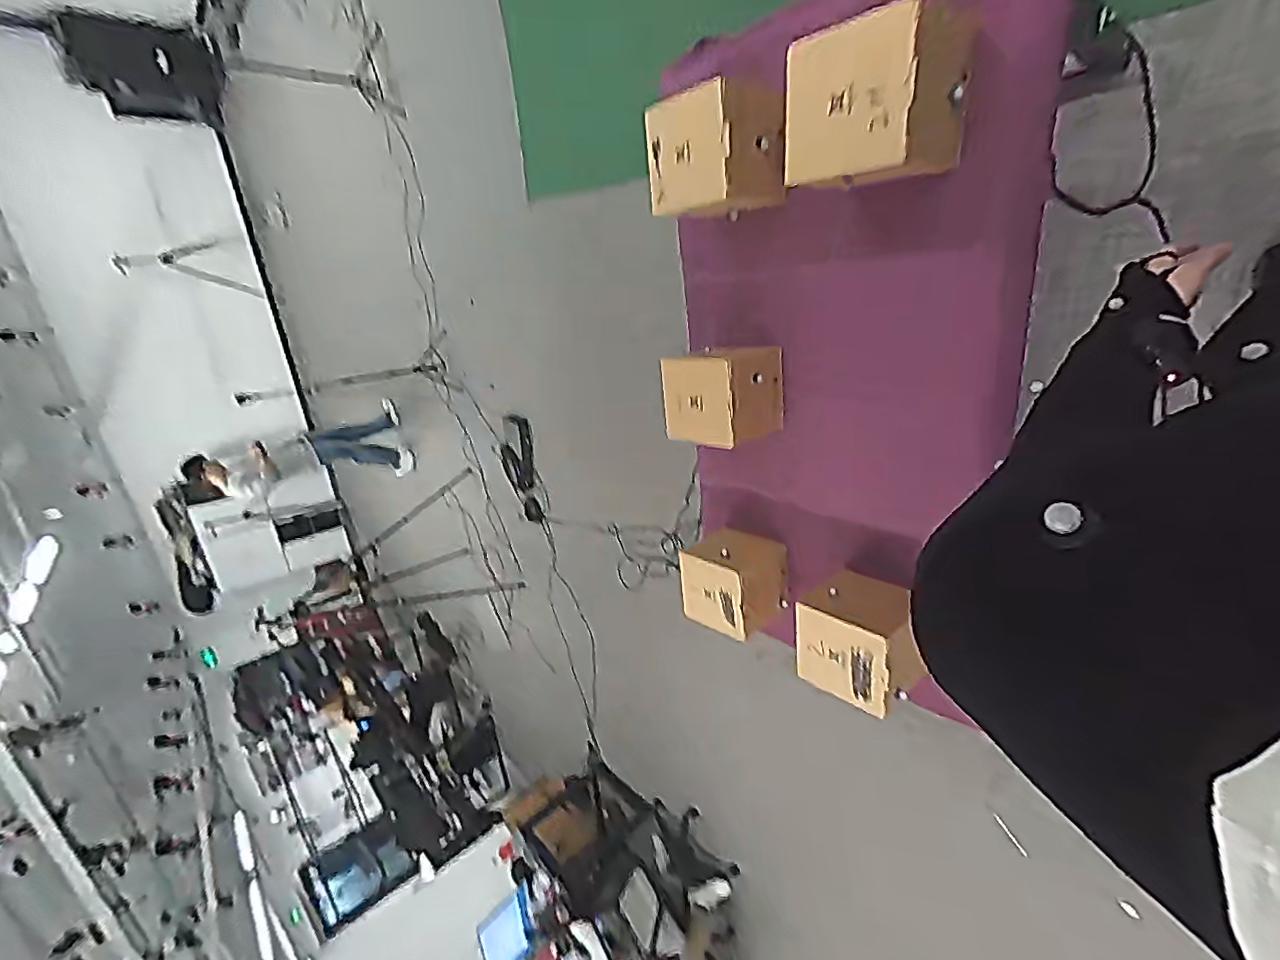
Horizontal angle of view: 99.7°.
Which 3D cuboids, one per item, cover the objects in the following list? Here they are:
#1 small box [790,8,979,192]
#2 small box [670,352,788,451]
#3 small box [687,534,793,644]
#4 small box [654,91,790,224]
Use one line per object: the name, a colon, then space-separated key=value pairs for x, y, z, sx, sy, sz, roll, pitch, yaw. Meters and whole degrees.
small box: x=0.332 y=-0.503 z=0.748 sx=0.179 sy=0.176 sz=0.168 roll=19 pitch=122 yaw=46
small box: x=0.185 y=-0.167 z=1.097 sx=0.179 sy=0.176 sz=0.168 roll=14 pitch=117 yaw=47
small box: x=0.233 y=0.235 z=1.223 sx=0.179 sy=0.176 sz=0.168 roll=13 pitch=116 yaw=48
small box: x=0.150 y=-0.557 z=0.955 sx=0.179 sy=0.176 sz=0.168 roll=15 pitch=118 yaw=46
